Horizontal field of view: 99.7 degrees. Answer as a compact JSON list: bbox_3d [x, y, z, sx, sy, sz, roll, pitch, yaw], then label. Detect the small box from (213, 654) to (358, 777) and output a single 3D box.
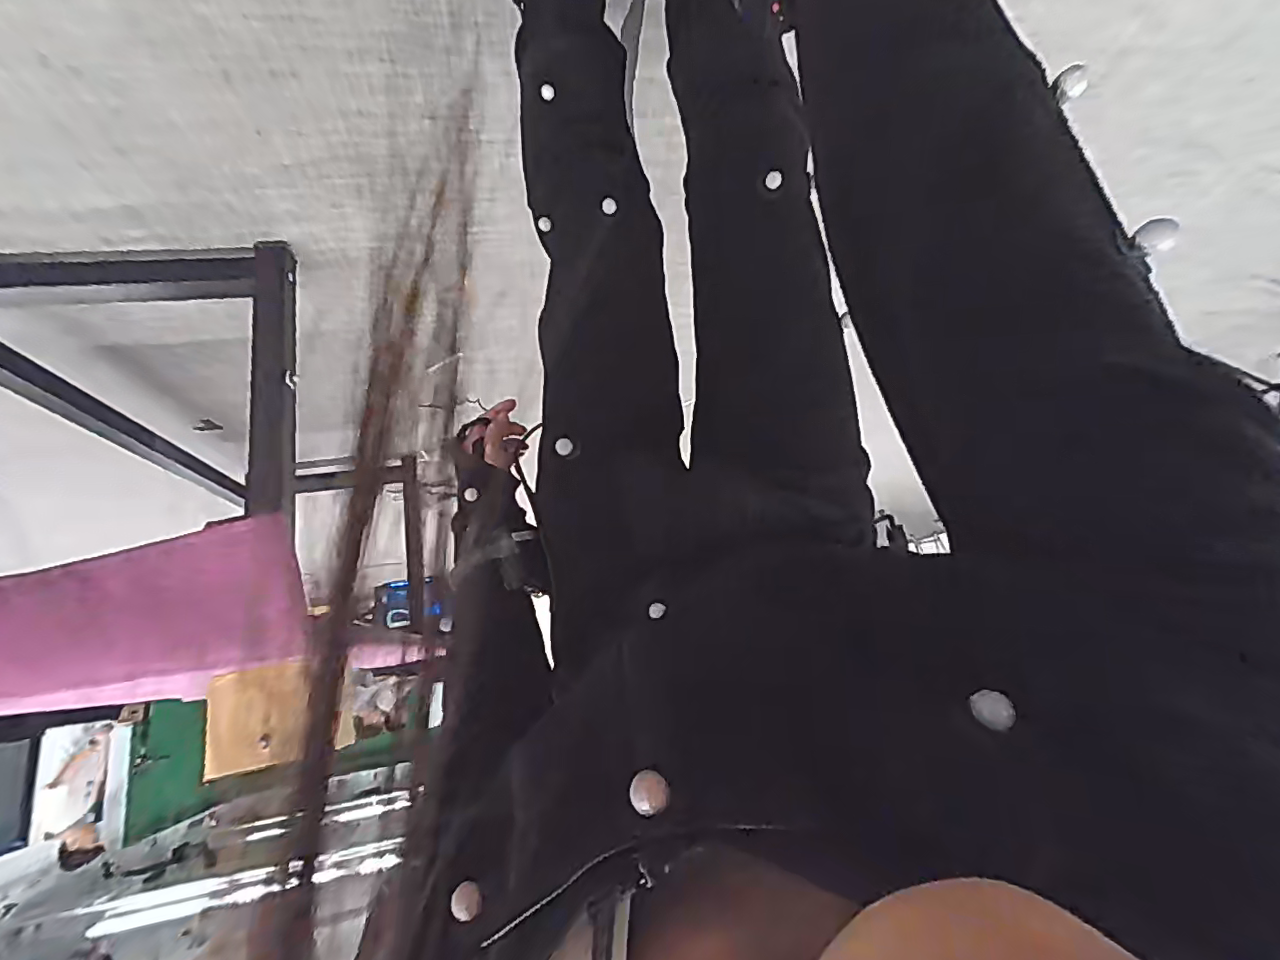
[{"bbox_3d":[-0.640,0.417,0.990,0.179,0.176,0.168,-7,163,-10],"label":"small box"}]
